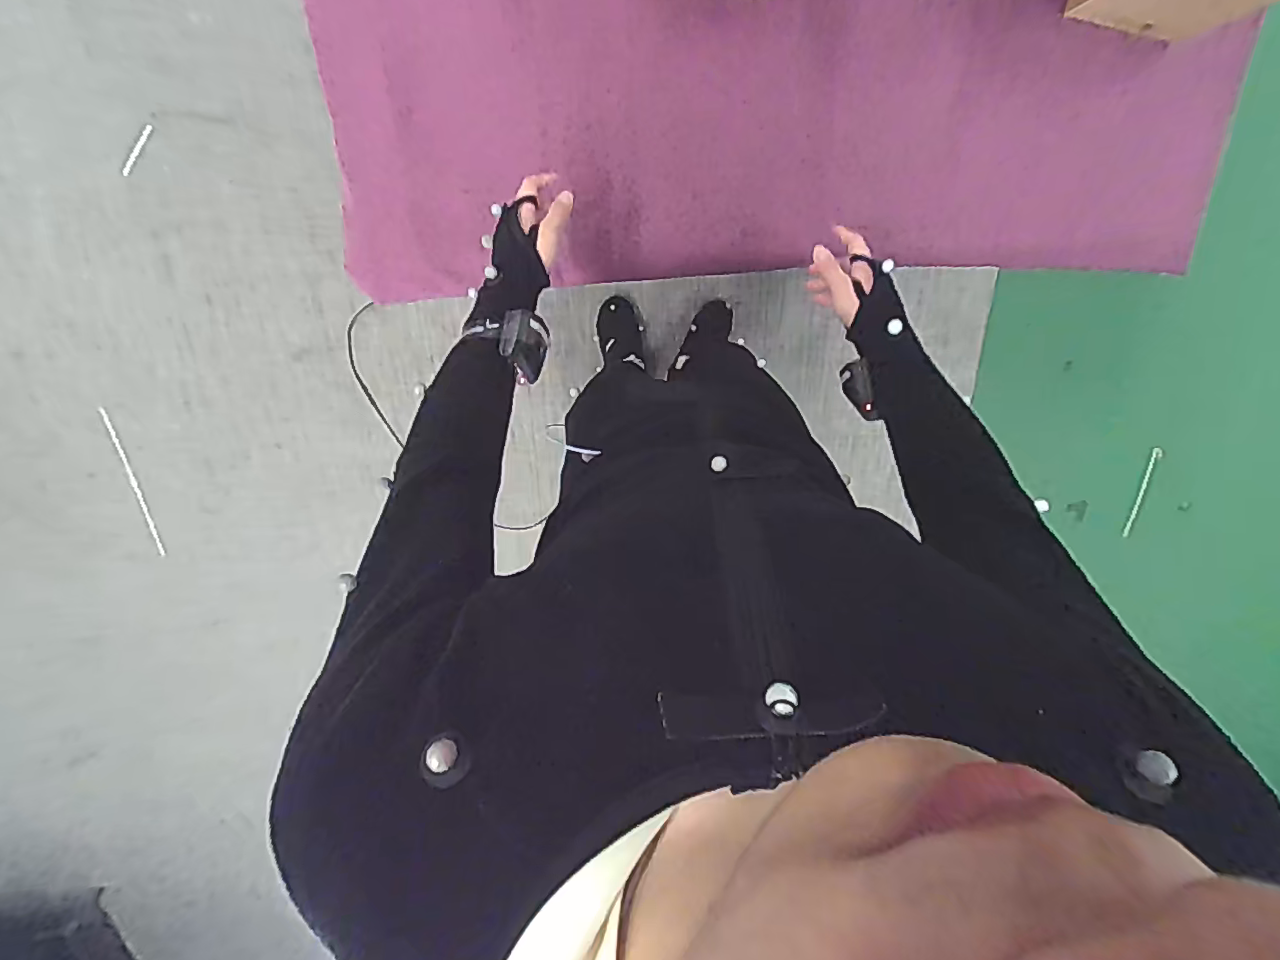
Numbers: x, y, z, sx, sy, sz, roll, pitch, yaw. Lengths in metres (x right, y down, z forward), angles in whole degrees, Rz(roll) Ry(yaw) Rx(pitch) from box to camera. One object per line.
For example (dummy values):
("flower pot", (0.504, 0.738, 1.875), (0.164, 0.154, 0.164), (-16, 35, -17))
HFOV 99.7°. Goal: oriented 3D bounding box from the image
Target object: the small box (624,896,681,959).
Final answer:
("small box", (0.036, 1.459, 1.705), (0.168, 0.176, 0.179), (0, 110, -3))
